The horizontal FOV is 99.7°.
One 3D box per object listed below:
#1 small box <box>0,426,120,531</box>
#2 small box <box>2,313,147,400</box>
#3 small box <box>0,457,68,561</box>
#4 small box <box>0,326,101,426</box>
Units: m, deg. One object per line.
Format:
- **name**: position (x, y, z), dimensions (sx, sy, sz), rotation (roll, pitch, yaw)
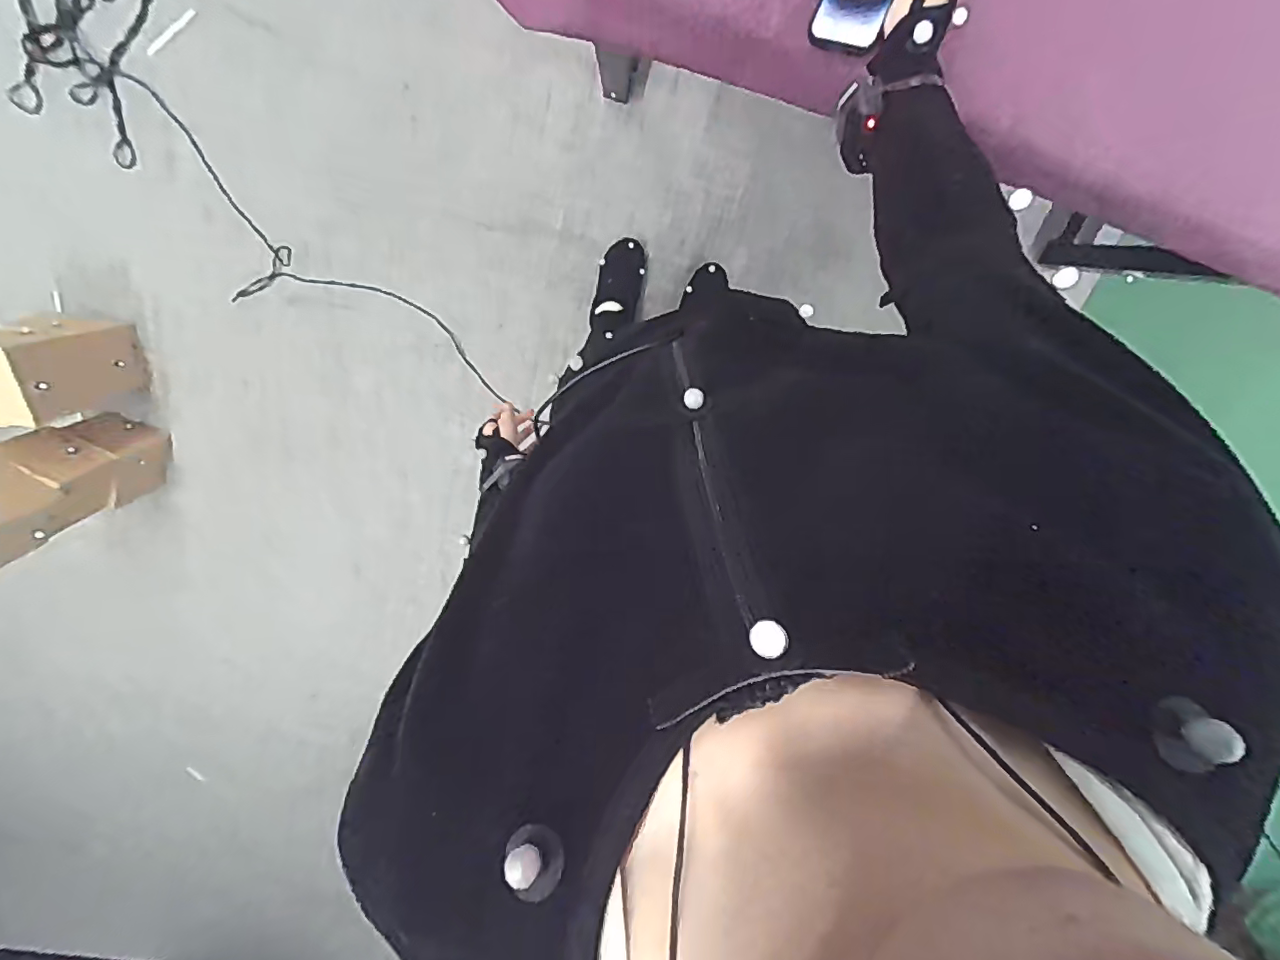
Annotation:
- **small box**: position (-1.419, -0.001, 1.302), dimensions (0.168, 0.176, 0.179), rotation (31, 110, -13)
- **small box**: position (-1.376, -0.310, 1.337), dimensions (0.179, 0.176, 0.168), rotation (8, 114, -4)
- **small box**: position (-1.411, 0.070, 1.154), dimensions (0.179, 0.176, 0.168), rotation (35, 109, -16)
- **small box**: position (-1.363, -0.233, 1.194), dimensions (0.168, 0.176, 0.179), rotation (3, 115, -3)
